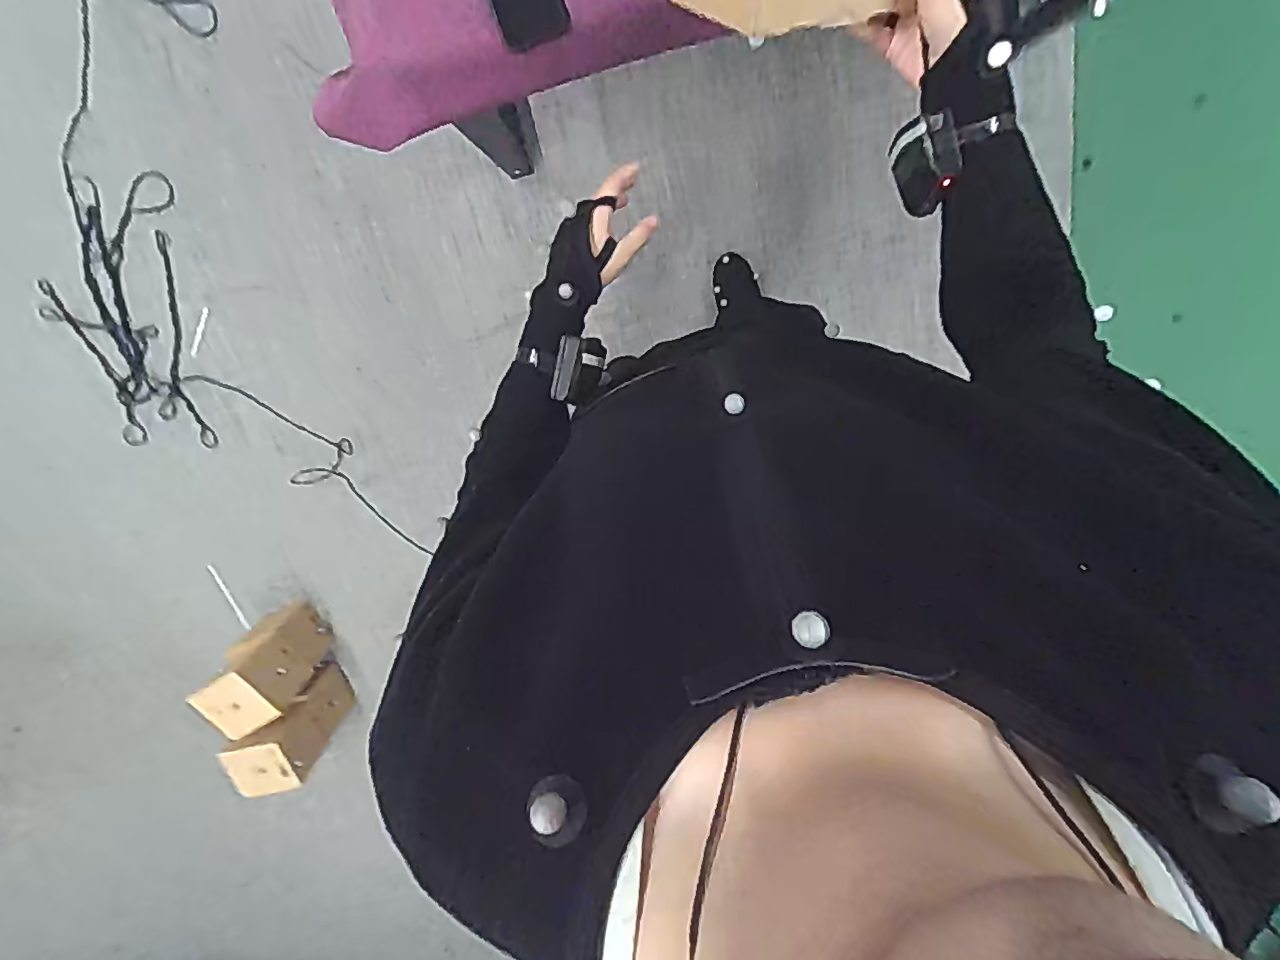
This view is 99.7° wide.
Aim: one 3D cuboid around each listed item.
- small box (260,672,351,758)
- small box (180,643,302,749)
[{"bbox_3d":[-1.045,0.722,1.681,0.168,0.176,0.179,-13,109,5],"label":"small box"},{"bbox_3d":[-1.059,0.575,1.460,0.179,0.176,0.168,-30,107,10],"label":"small box"}]
